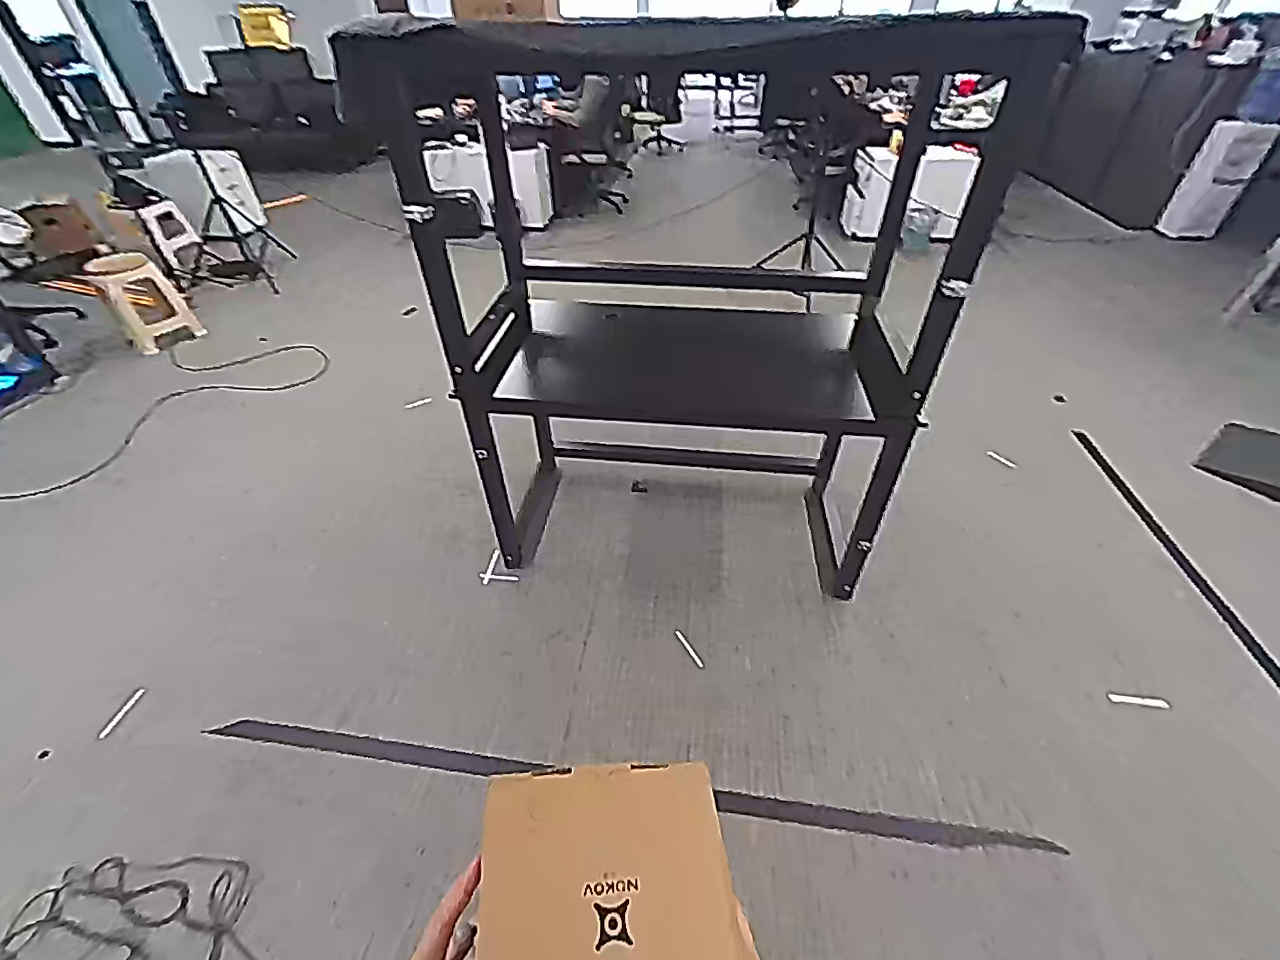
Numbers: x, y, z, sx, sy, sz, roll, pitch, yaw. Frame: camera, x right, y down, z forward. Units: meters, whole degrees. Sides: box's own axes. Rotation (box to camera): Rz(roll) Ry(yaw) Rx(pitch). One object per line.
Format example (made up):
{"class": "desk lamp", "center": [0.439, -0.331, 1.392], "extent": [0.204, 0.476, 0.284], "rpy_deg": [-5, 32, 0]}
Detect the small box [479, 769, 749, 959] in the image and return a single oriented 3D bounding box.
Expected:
{"class": "small box", "center": [-0.031, 0.335, 0.392], "extent": [0.168, 0.176, 0.179], "rpy_deg": [3, 44, -13]}
